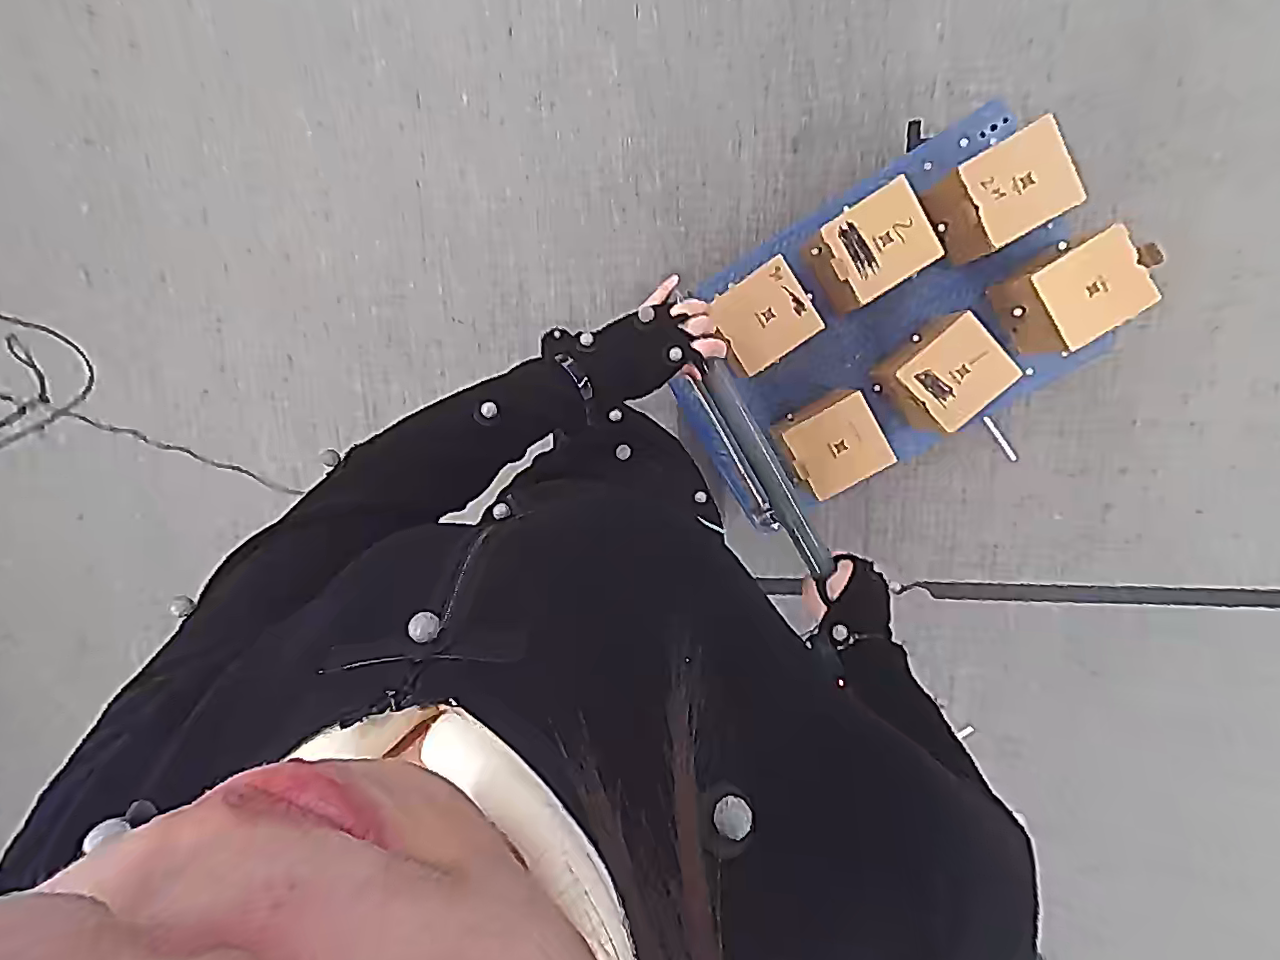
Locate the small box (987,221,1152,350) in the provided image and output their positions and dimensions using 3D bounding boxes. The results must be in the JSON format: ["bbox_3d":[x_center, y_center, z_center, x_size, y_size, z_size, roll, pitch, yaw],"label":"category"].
[{"bbox_3d":[0.837,-0.374,1.080,0.179,0.176,0.168,-33,97,9],"label":"small box"}]

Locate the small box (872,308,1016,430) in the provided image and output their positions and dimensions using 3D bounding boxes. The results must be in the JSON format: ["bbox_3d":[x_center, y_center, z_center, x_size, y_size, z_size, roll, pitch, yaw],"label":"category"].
[{"bbox_3d":[0.613,-0.226,1.124,0.179,0.176,0.168,-42,95,10],"label":"small box"}]

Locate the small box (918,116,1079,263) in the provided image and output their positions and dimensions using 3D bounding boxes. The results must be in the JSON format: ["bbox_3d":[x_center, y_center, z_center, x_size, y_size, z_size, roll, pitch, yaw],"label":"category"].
[{"bbox_3d":[0.687,-0.552,1.055,0.179,0.176,0.168,-28,97,9],"label":"small box"}]

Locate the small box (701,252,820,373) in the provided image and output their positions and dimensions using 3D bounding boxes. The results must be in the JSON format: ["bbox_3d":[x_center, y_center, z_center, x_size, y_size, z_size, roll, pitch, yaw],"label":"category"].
[{"bbox_3d":[0.242,-0.338,1.128,0.179,0.176,0.168,-33,98,10],"label":"small box"}]

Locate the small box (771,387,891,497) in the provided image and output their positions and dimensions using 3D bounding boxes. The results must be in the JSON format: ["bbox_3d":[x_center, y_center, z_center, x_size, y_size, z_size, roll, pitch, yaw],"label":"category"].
[{"bbox_3d":[0.399,-0.087,1.167,0.179,0.176,0.168,-29,98,8],"label":"small box"}]
